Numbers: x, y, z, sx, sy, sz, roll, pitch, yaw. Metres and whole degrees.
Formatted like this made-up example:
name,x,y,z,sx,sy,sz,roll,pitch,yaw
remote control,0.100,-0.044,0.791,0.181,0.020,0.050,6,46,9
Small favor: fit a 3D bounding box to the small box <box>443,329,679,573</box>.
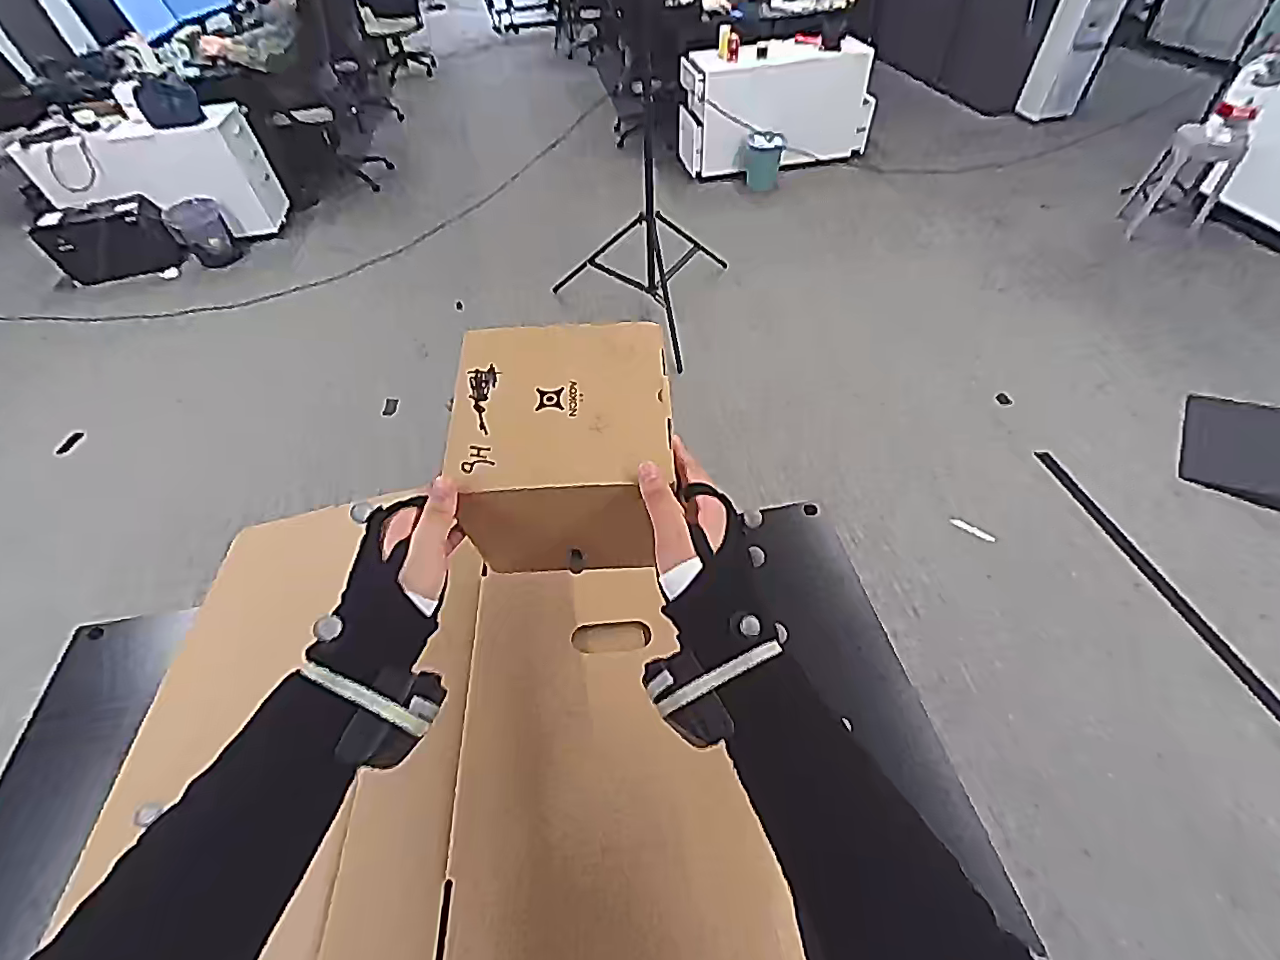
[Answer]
name,x,y,z,sx,sy,sz,roll,pitch,yaw
small box,-0.063,-0.020,0.506,0.179,0.176,0.168,-2,59,-2
